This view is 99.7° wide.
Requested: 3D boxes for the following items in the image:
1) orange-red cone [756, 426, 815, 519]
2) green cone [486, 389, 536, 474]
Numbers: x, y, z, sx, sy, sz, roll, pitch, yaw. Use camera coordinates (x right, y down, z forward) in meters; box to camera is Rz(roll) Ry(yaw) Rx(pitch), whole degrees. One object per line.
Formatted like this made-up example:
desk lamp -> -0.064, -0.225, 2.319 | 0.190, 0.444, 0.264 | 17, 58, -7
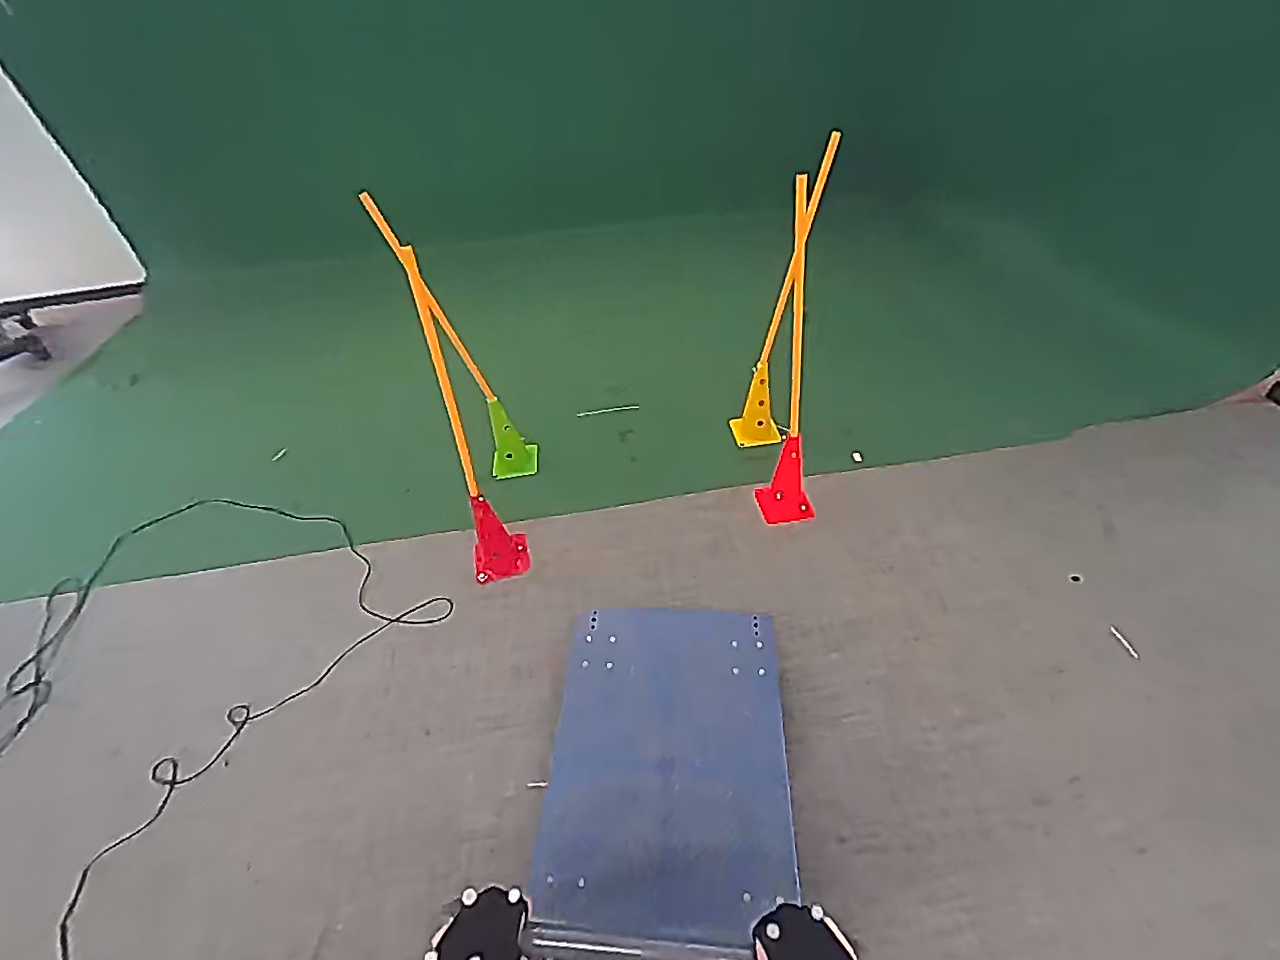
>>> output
orange-red cone -> 0.554, -0.050, 2.003 | 0.198, 0.360, 0.199 | -8, 43, -2
green cone -> -0.582, -0.227, 2.310 | 0.200, 0.368, 0.202 | -9, 43, -2
